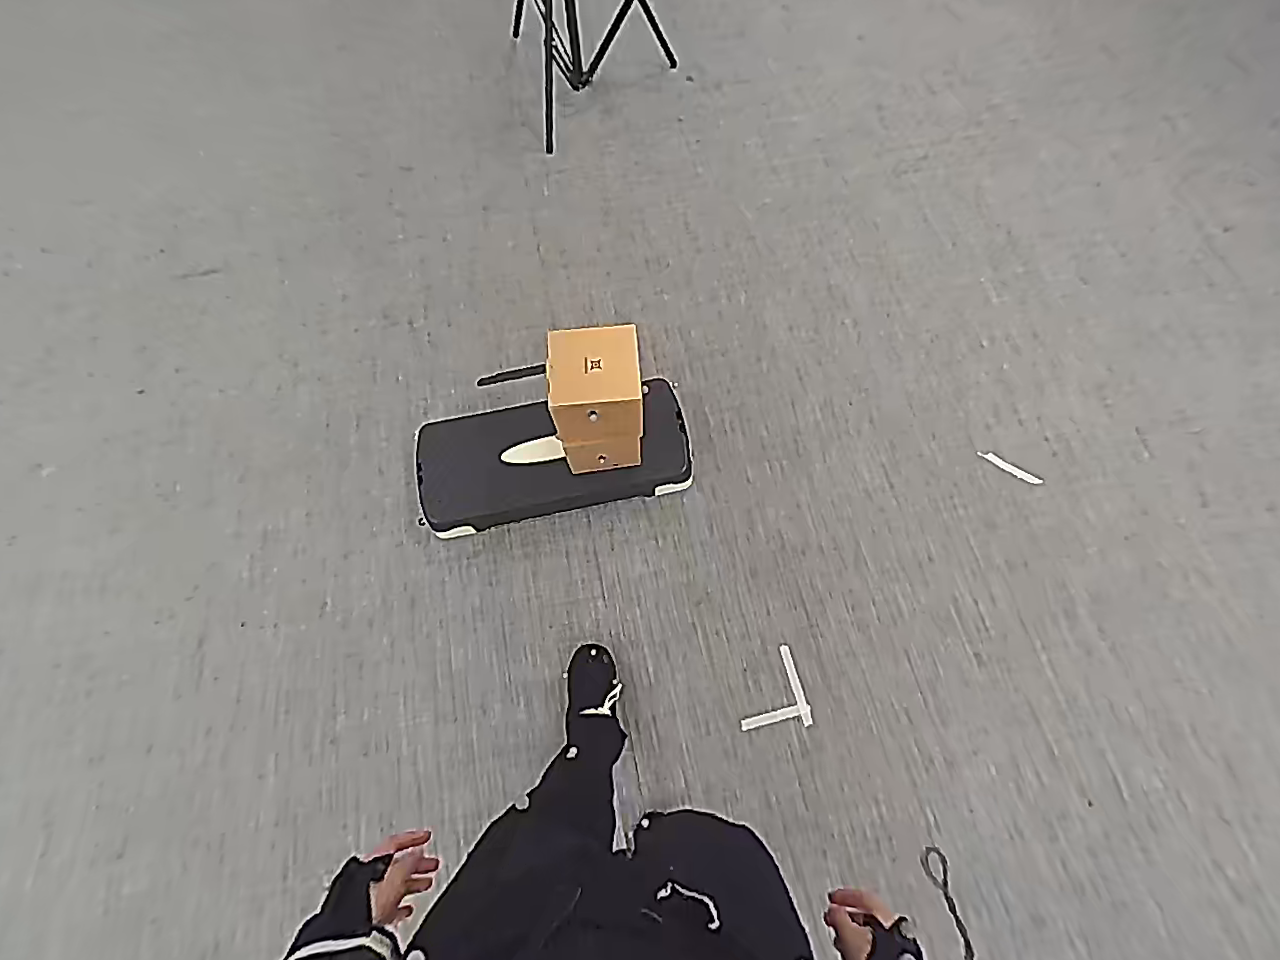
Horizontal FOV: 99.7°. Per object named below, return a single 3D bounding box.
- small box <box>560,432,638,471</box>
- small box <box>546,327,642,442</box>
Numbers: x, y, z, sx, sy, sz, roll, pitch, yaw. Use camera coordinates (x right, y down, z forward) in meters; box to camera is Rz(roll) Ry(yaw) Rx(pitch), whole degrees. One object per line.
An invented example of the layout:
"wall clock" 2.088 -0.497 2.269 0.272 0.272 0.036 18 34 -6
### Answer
"small box" -0.095 -0.129 1.244 0.168 0.176 0.179 -8 70 -2
"small box" -0.088 -0.186 1.092 0.179 0.176 0.168 -5 71 0
